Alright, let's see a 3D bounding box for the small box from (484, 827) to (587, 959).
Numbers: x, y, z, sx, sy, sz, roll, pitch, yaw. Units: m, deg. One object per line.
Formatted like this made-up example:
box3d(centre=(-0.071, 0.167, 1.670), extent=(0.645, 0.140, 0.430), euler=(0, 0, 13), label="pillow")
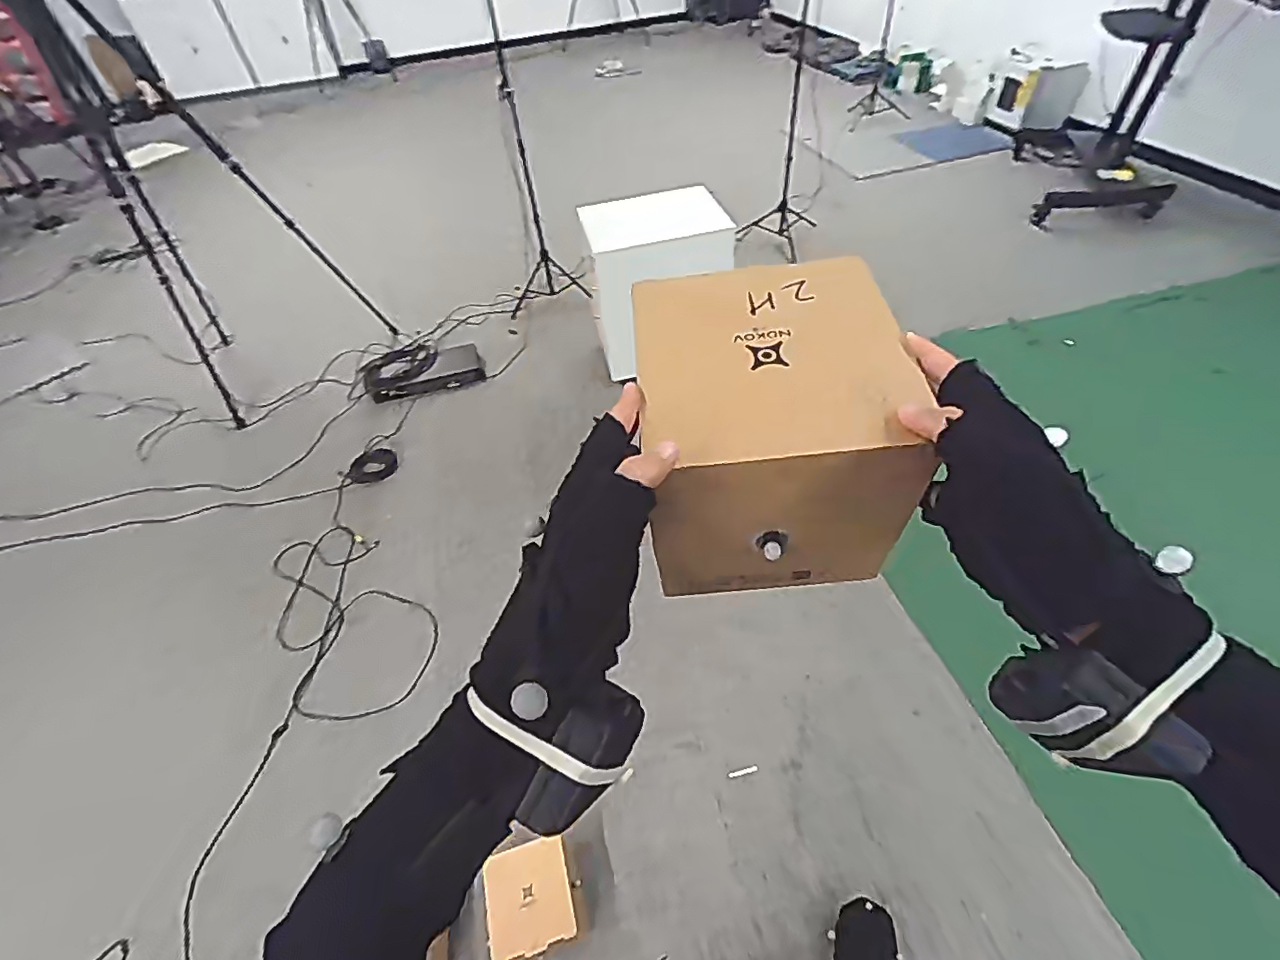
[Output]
box3d(centre=(-0.216, 0.861, 1.127), extent=(0.168, 0.176, 0.179), euler=(-16, 50, -8), label="small box")
